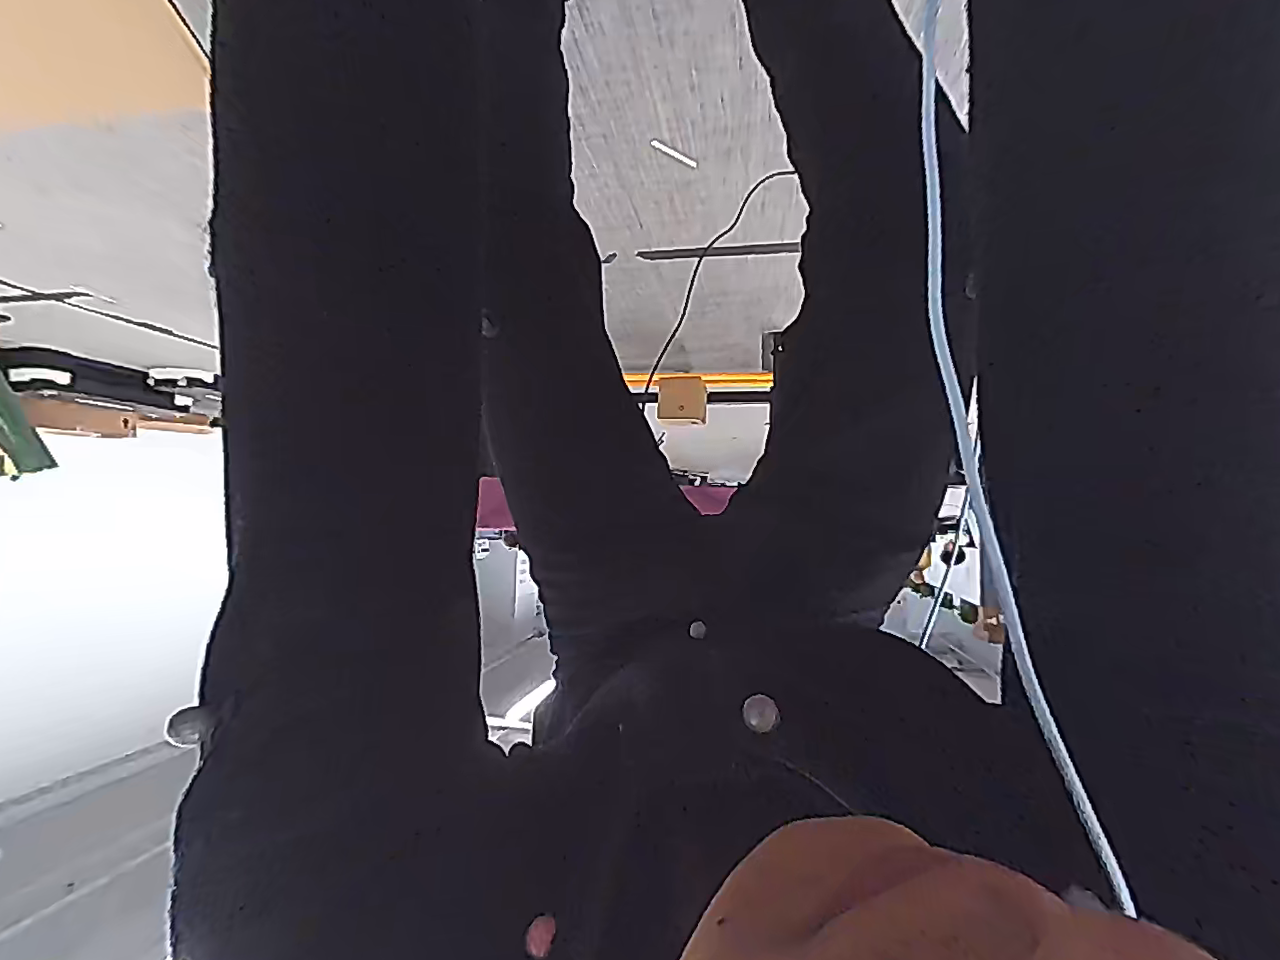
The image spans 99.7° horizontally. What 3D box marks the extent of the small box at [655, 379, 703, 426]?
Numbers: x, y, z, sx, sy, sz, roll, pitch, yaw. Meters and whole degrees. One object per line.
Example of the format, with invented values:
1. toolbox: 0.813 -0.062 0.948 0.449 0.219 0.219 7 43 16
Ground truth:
1. small box: 0.163 -0.321 2.232 0.179 0.176 0.168 3 177 15
